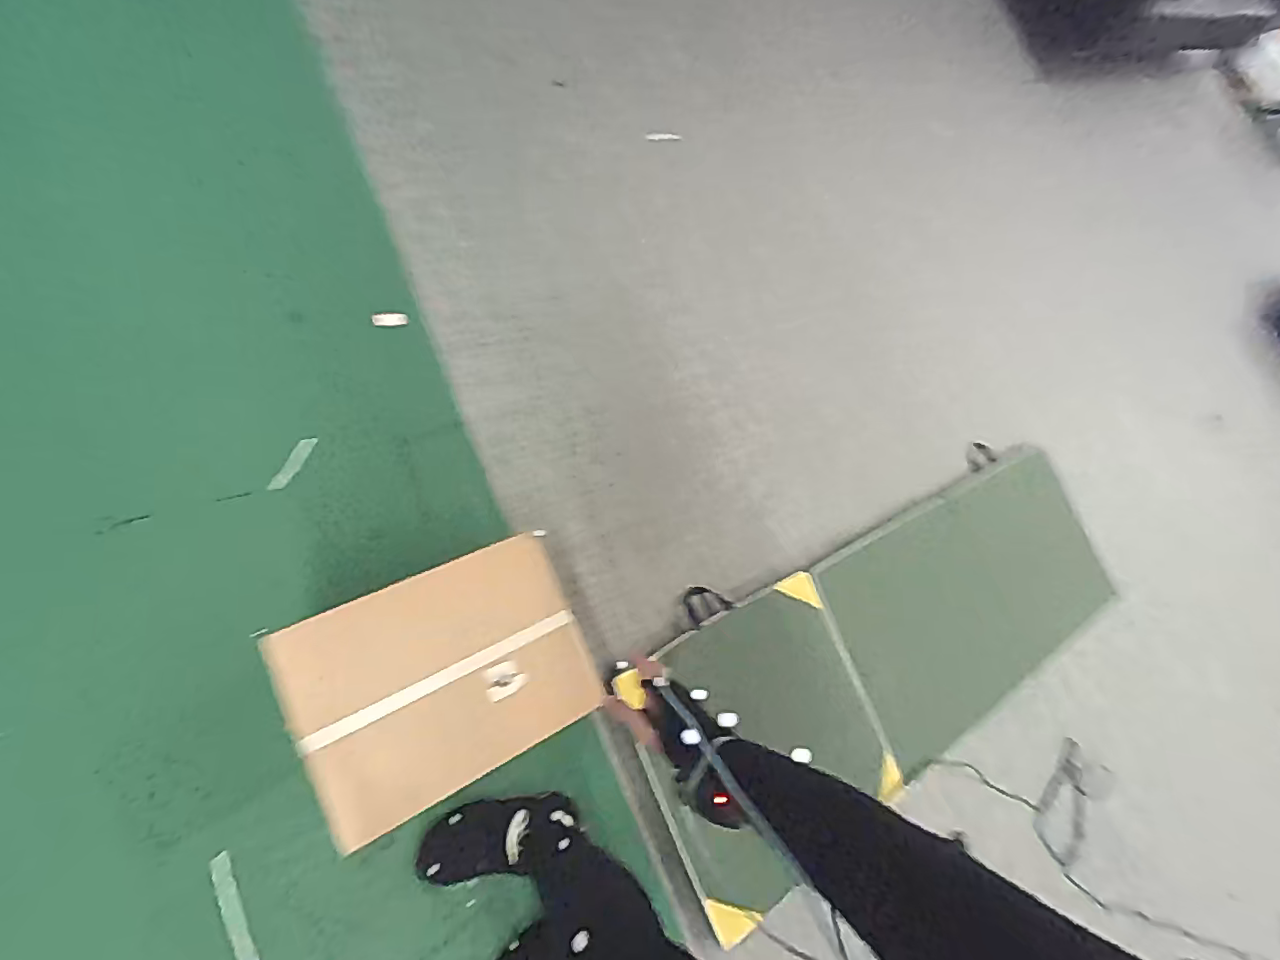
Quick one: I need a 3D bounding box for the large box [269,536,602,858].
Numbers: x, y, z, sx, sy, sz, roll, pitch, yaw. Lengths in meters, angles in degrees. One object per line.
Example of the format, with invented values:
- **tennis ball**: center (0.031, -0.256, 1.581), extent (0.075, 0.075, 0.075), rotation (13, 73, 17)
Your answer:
- **large box**: center (-0.343, 0.341, 0.950), extent (0.408, 0.320, 0.320), rotation (-22, 85, -27)
